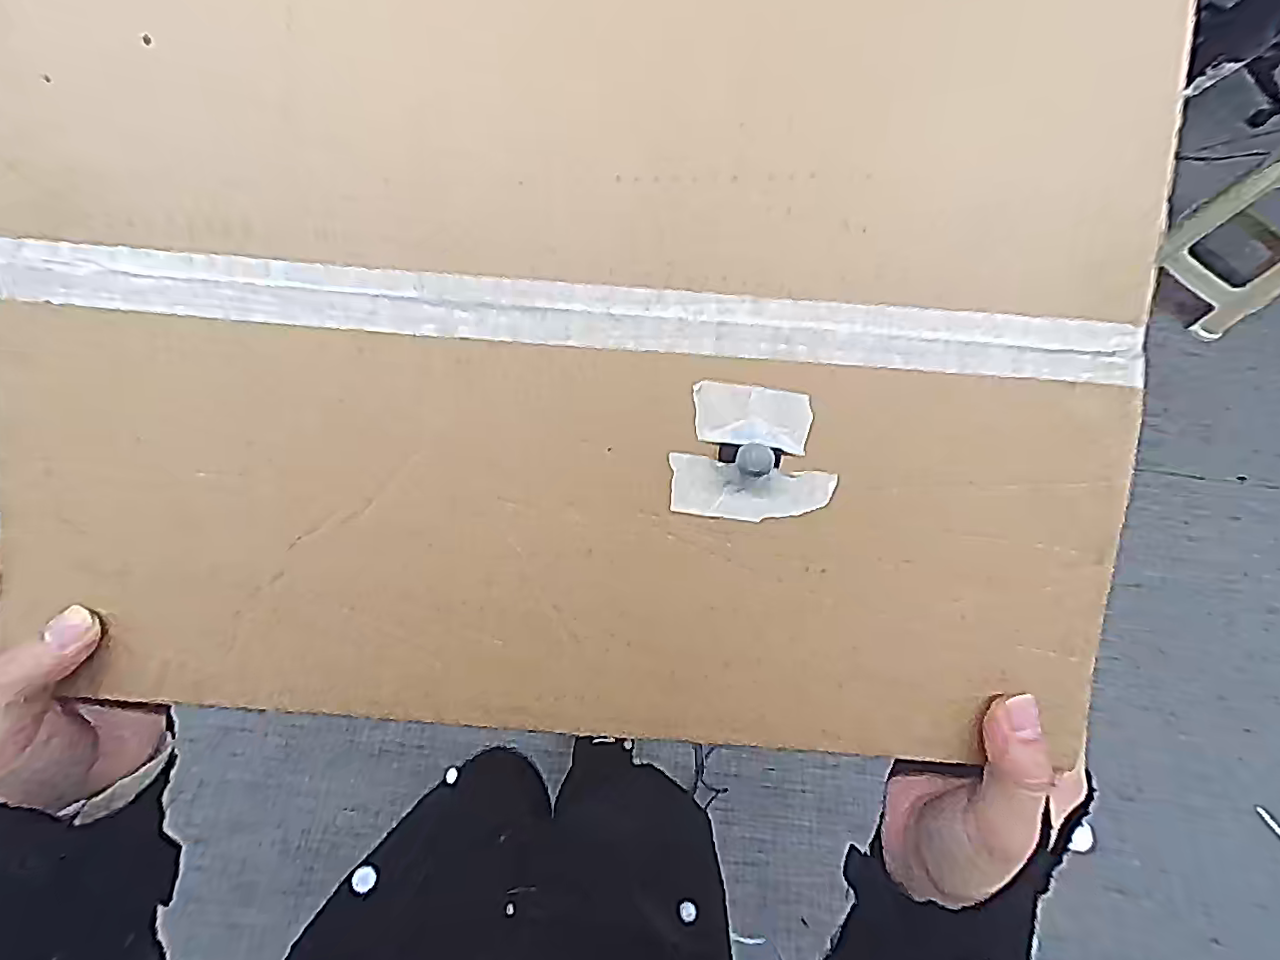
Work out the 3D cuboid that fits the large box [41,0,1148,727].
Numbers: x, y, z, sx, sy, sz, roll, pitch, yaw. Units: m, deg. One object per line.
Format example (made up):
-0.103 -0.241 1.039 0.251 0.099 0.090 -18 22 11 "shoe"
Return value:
-0.024 -0.073 0.352 0.408 0.320 0.320 4 96 -1 "large box"
